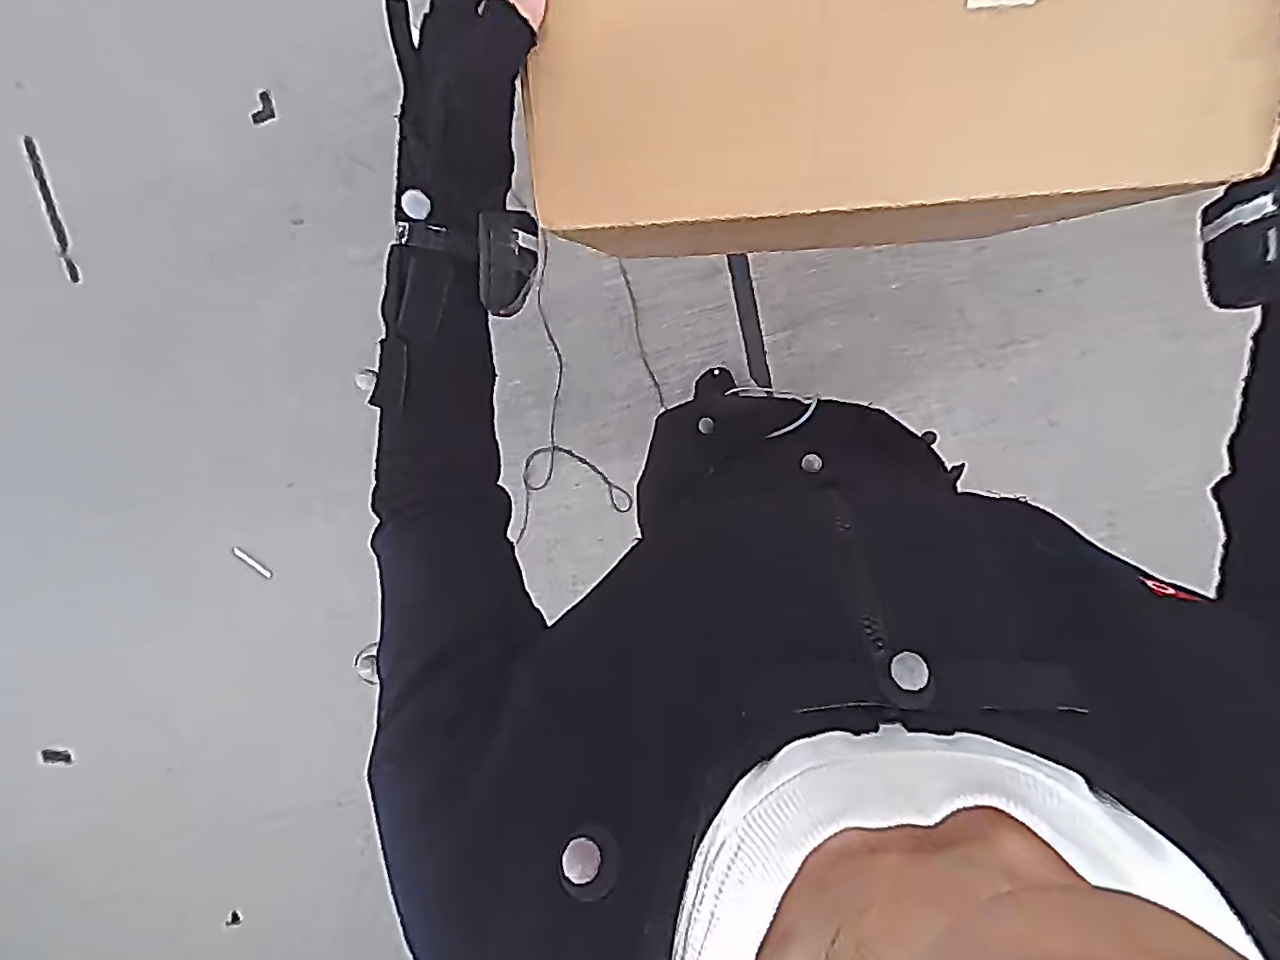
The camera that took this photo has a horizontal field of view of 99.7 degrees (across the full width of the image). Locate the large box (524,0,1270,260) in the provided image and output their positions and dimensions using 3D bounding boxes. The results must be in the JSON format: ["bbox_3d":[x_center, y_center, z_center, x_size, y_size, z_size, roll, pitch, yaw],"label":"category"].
[{"bbox_3d":[0.139,-0.365,0.422,0.408,0.320,0.320,-2,109,7],"label":"large box"}]
